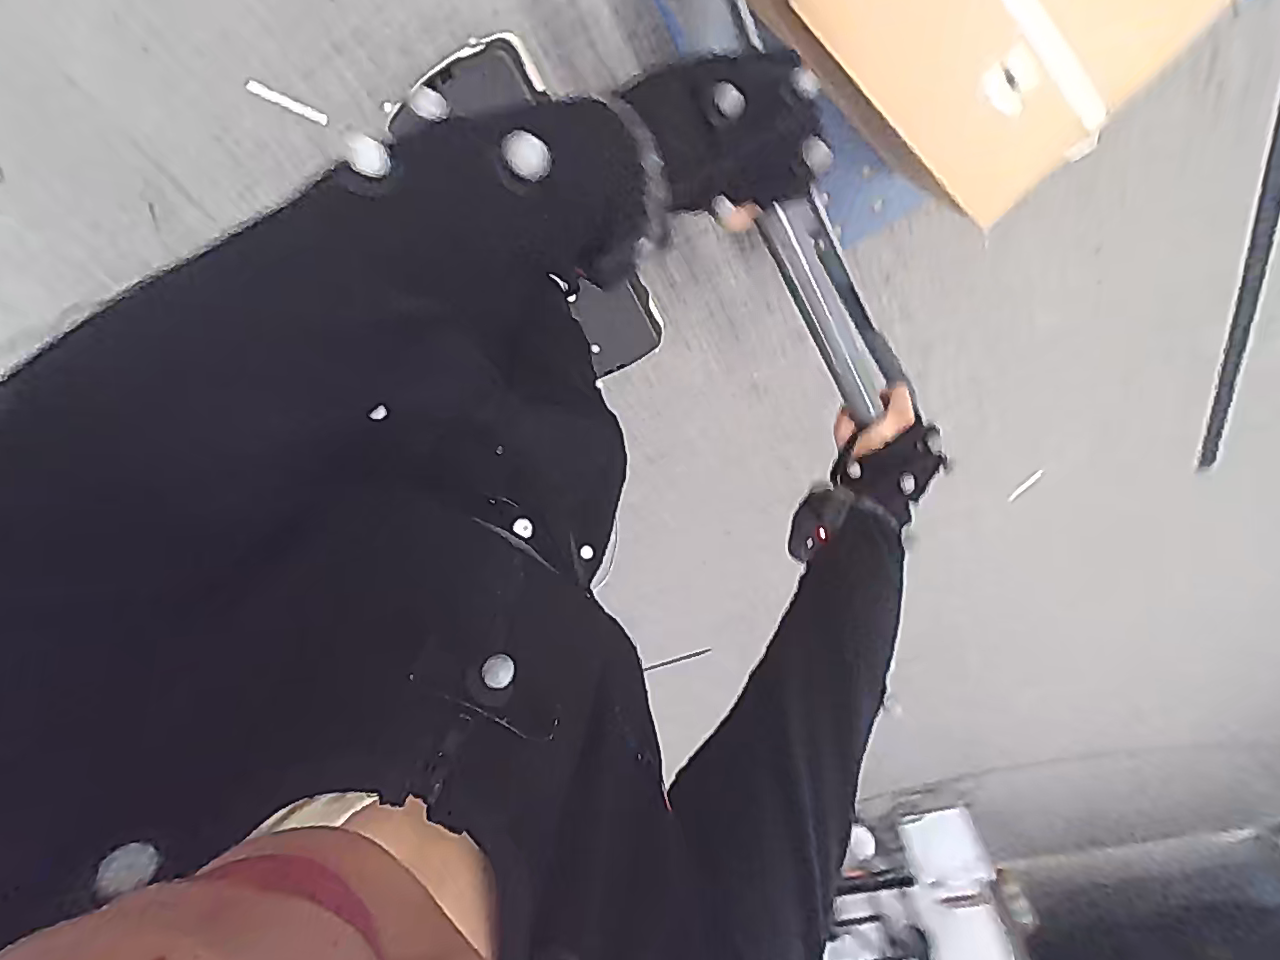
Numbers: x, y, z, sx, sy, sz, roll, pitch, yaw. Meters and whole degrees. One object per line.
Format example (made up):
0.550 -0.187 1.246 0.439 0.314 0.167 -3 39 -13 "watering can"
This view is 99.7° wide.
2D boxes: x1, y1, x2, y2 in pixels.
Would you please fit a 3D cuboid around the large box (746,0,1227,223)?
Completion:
0.407 -0.633 0.708 0.408 0.320 0.320 28 126 -26 "large box"
